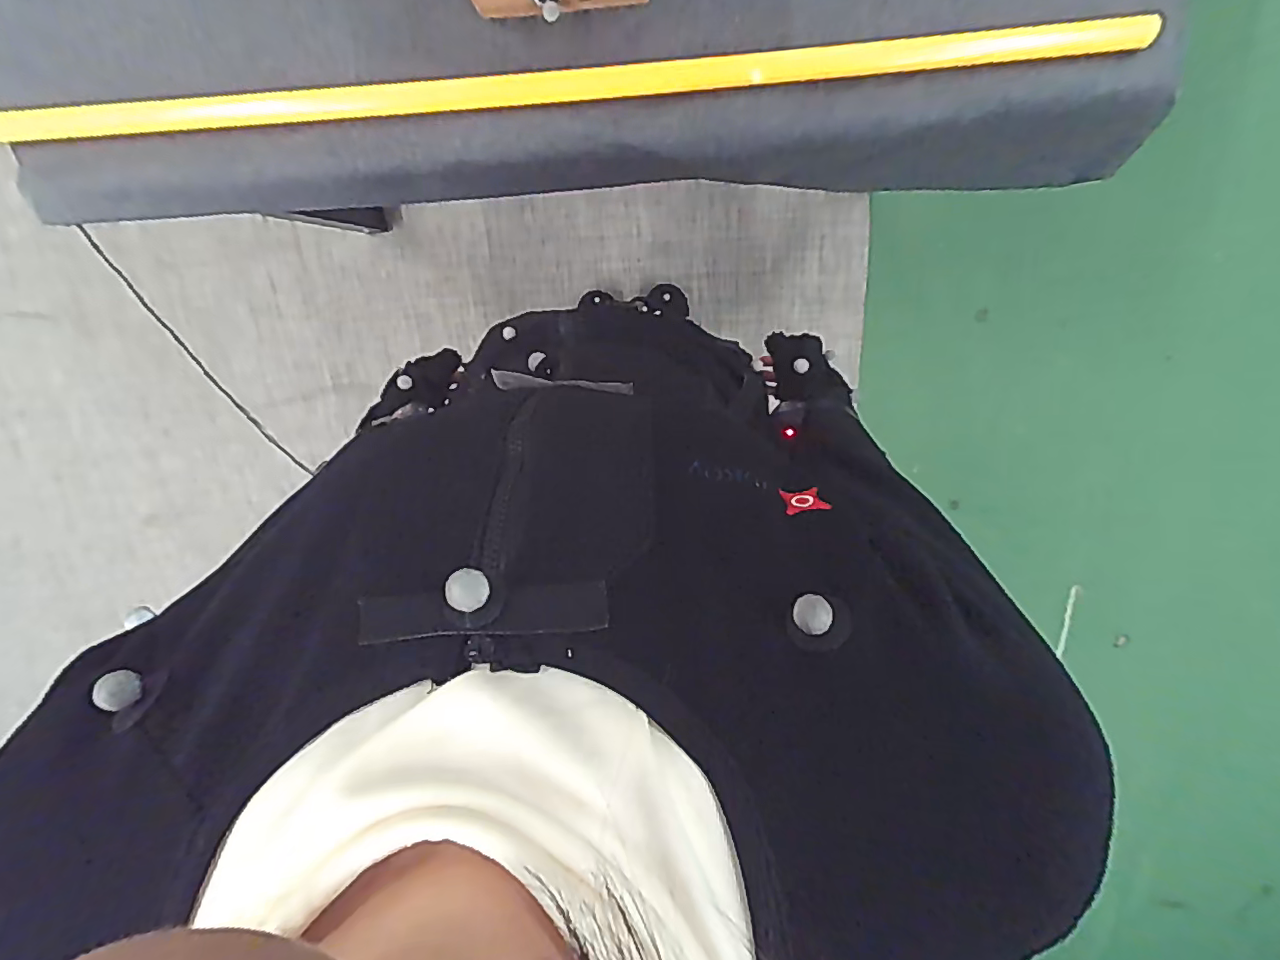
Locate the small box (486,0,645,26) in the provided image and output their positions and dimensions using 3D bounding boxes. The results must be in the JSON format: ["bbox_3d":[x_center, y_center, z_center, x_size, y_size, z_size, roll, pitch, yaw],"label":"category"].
[{"bbox_3d":[-0.080,-0.515,0.435,0.168,0.176,0.179,-5,110,4],"label":"small box"}]
